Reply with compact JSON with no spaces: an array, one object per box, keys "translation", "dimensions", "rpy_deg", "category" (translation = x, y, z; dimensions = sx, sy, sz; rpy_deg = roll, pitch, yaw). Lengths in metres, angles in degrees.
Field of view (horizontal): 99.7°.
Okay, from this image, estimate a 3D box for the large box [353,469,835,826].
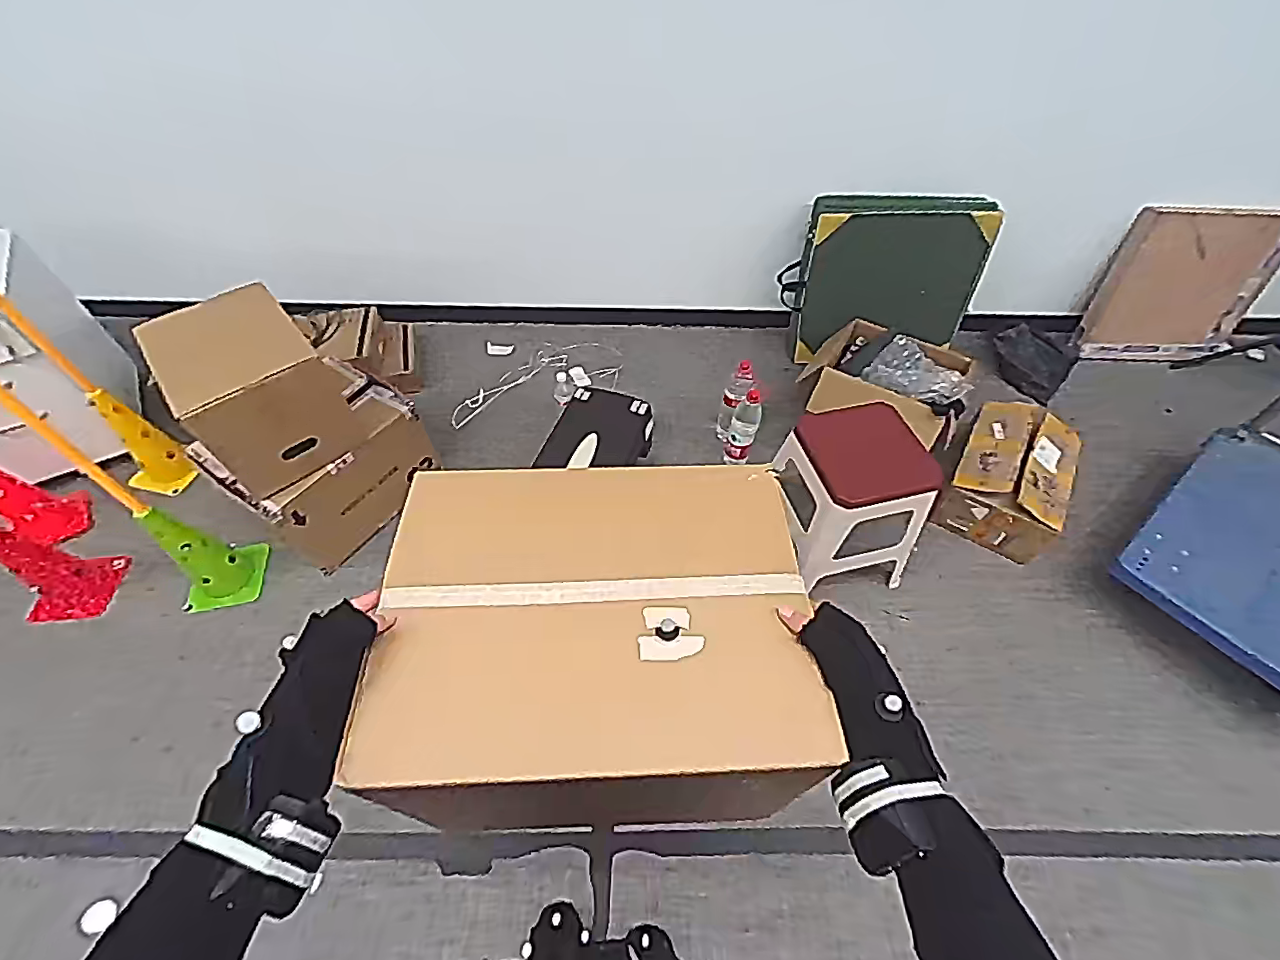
[{"translation":[-0.045,0.204,0.647],"dimensions":[0.408,0.320,0.320],"rpy_deg":[-1,52,-2],"category":"large box"}]
